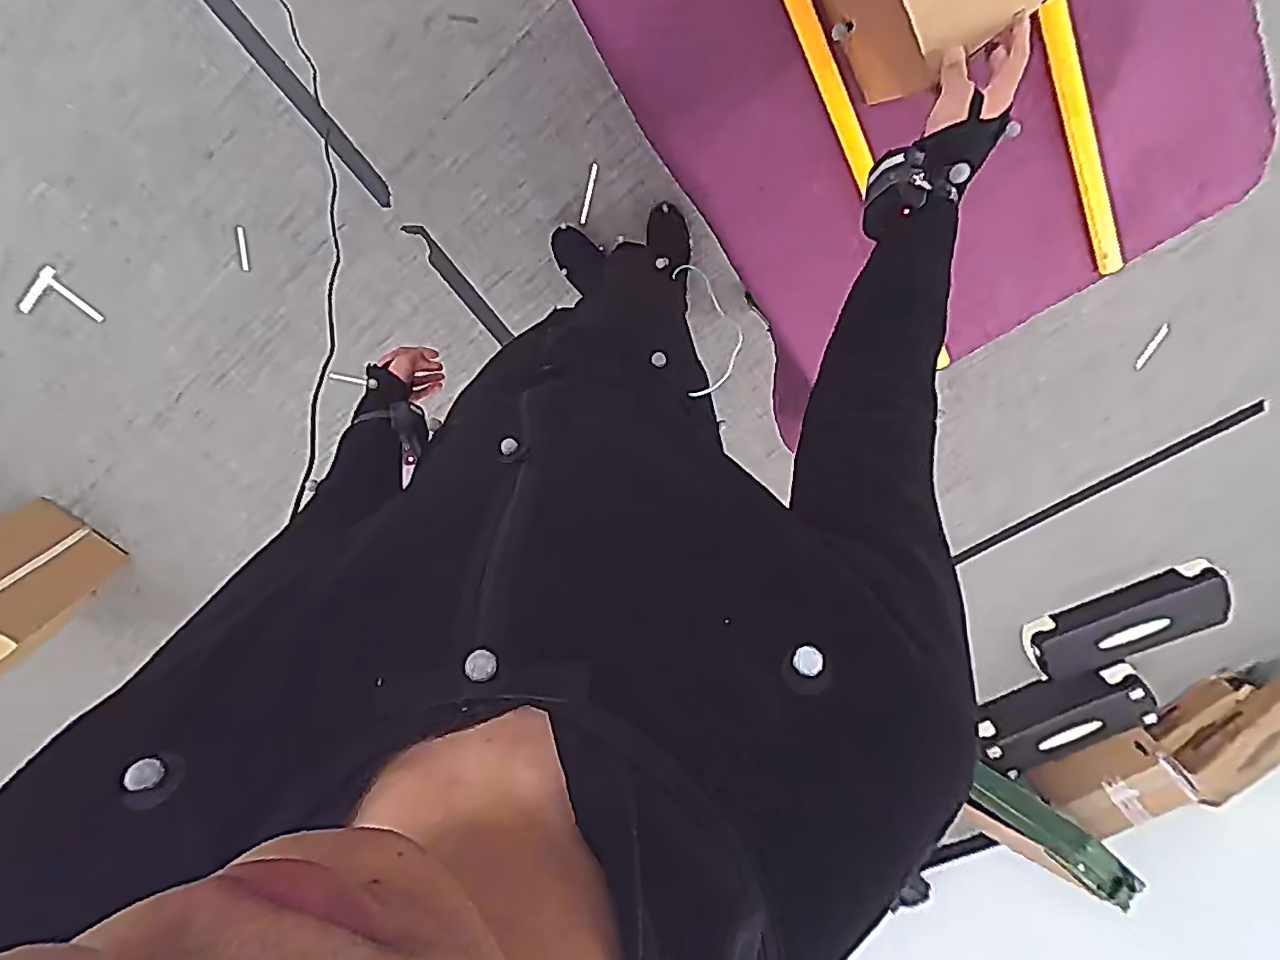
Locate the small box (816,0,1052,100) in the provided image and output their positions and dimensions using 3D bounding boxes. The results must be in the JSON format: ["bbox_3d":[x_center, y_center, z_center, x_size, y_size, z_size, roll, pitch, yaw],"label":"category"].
[{"bbox_3d":[0.290,-0.520,0.542,0.168,0.176,0.179,-33,117,17],"label":"small box"}]
